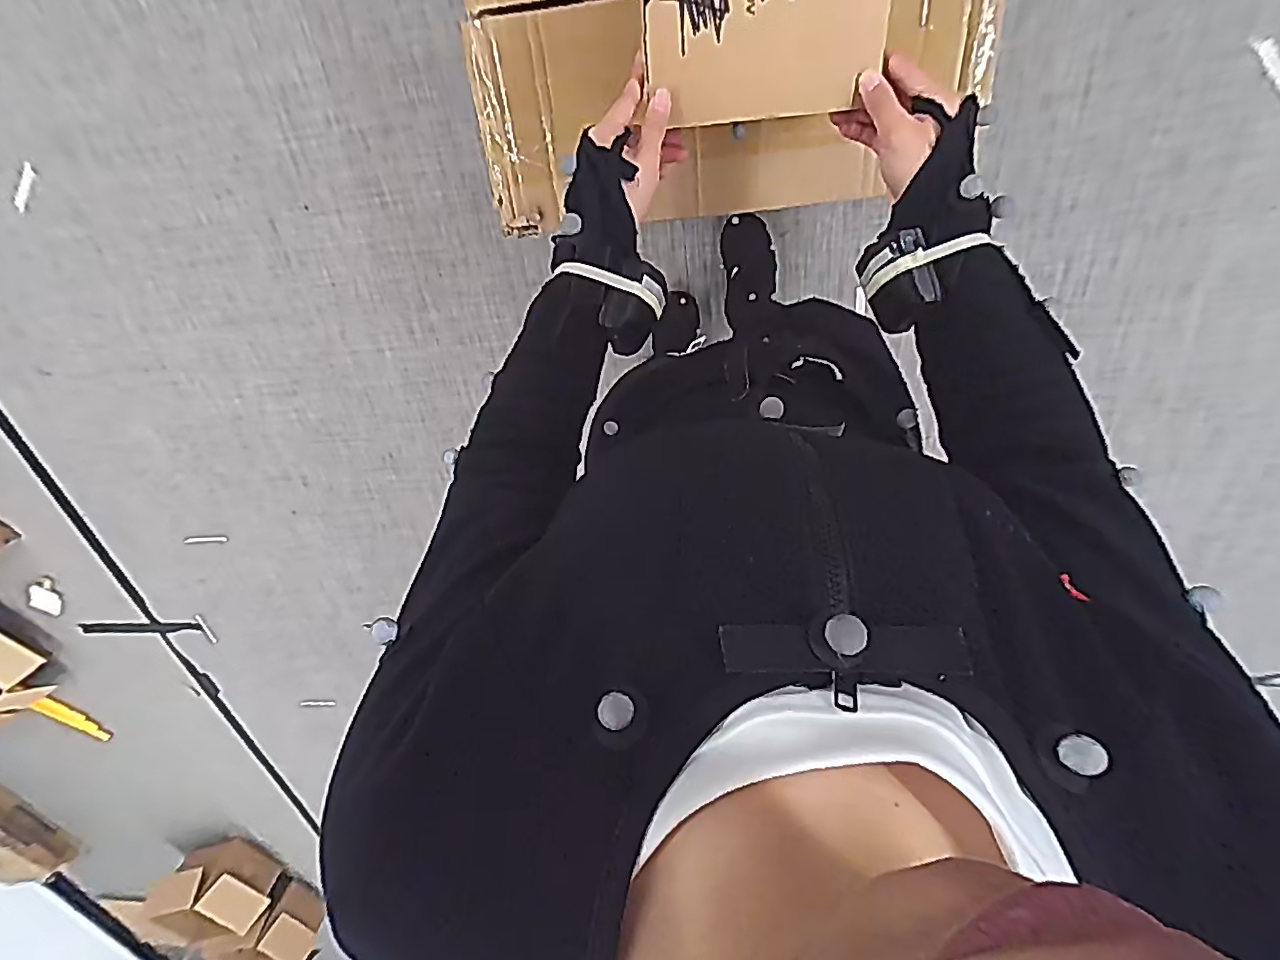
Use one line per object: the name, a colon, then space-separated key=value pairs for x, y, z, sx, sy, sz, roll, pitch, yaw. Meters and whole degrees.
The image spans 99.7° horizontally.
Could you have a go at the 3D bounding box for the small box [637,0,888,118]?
small box: x=0.088 y=-0.395 z=0.432 sx=0.179 sy=0.176 sz=0.168 roll=-3 pitch=126 yaw=5
